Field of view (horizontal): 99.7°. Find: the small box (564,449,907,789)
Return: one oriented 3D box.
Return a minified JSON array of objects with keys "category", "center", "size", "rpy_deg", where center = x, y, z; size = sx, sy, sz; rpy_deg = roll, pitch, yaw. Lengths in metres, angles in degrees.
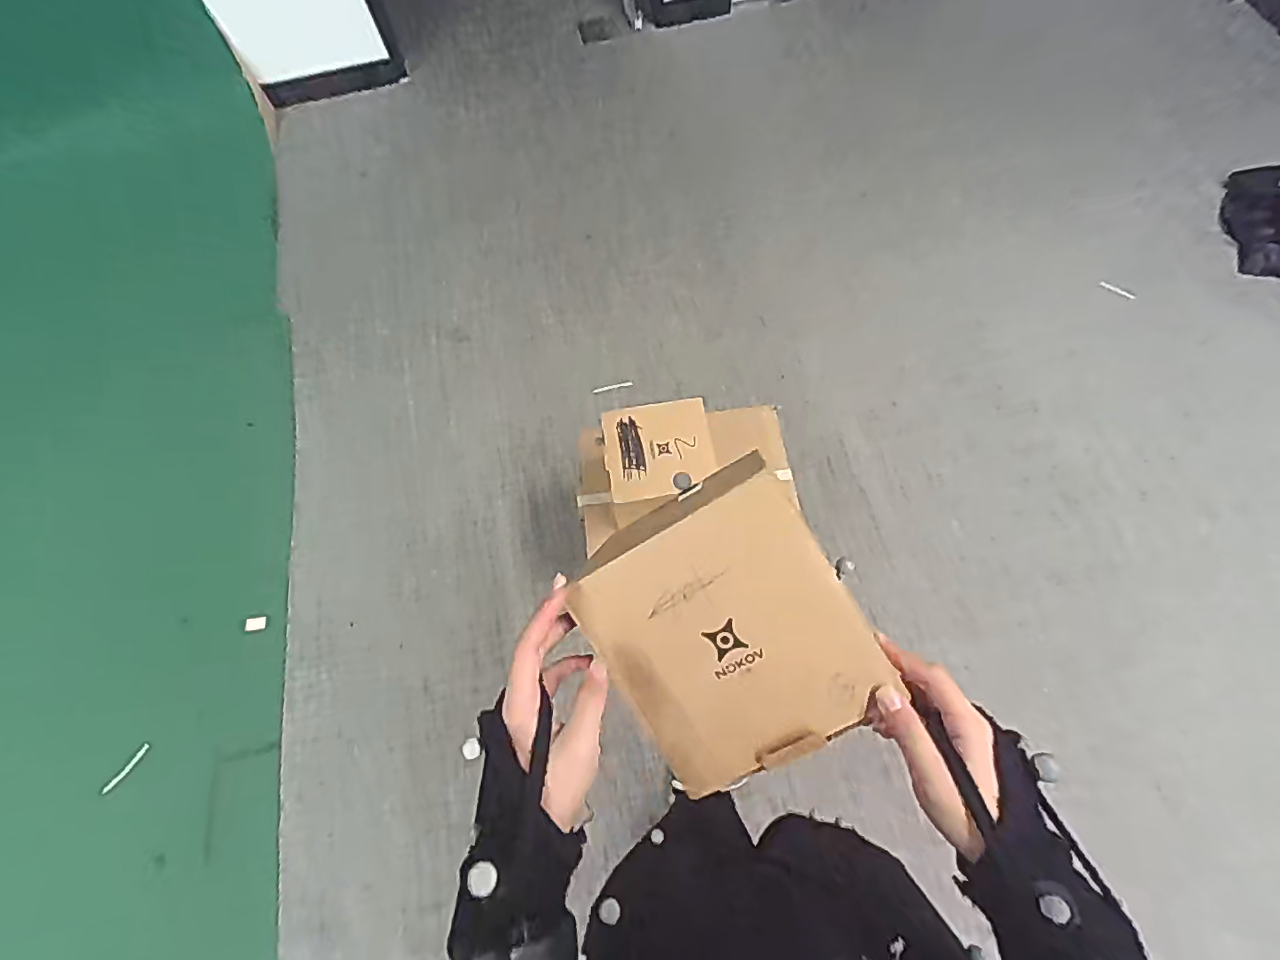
[{"category":"small box","center":[0.073,0.091,0.432],"size":[0.168,0.176,0.179],"rpy_deg":[-32,91,12]}]

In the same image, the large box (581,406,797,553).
[{"category":"large box","center":[0.098,0.069,1.171],"size":[0.408,0.320,0.320],"rpy_deg":[-7,70,-1]}]
